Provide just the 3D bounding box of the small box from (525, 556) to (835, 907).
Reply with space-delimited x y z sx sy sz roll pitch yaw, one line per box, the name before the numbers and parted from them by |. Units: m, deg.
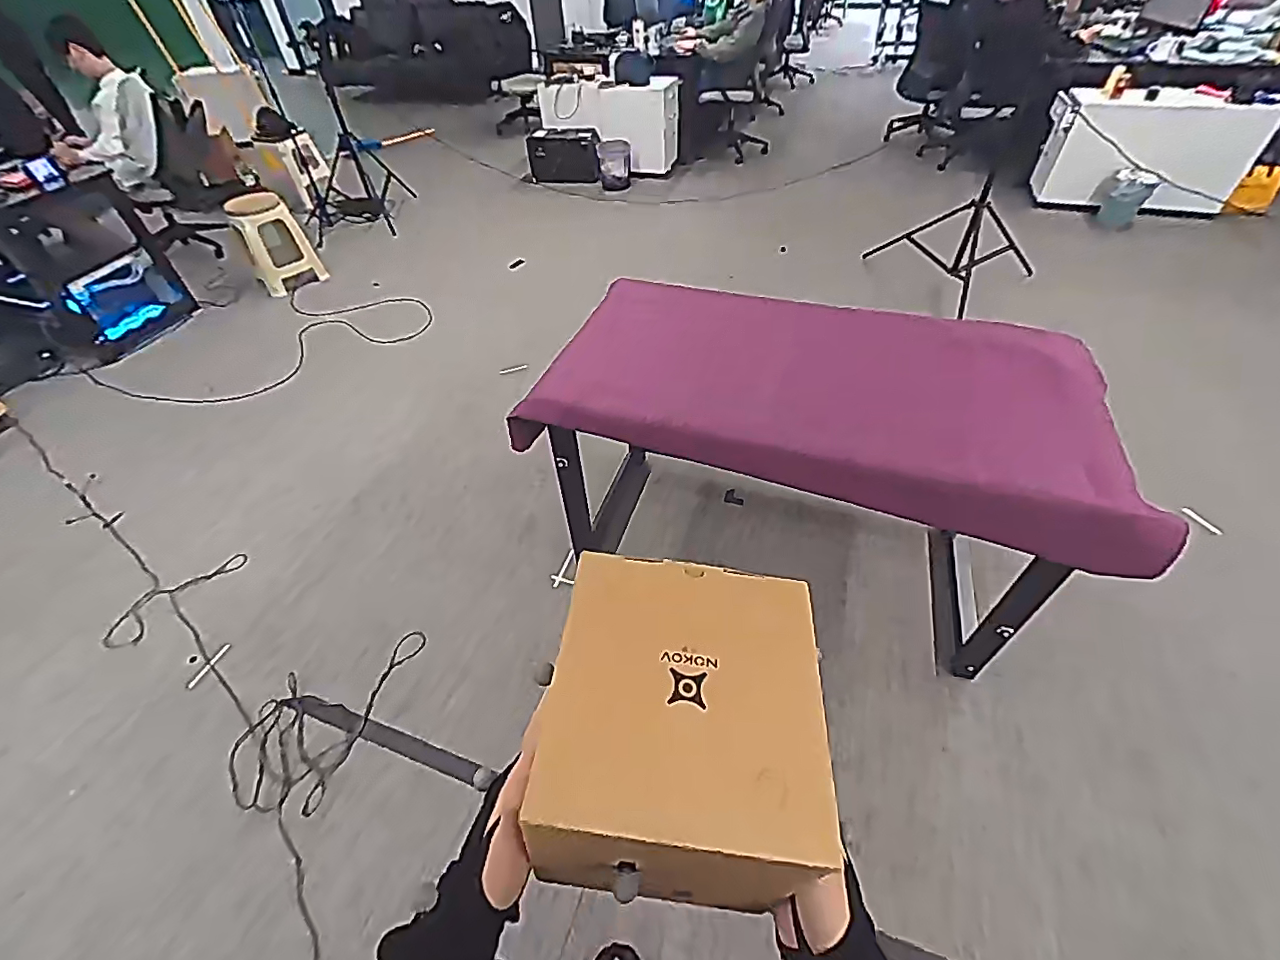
small box | 0.024 0.183 0.393 0.168 0.176 0.179 8 44 1
